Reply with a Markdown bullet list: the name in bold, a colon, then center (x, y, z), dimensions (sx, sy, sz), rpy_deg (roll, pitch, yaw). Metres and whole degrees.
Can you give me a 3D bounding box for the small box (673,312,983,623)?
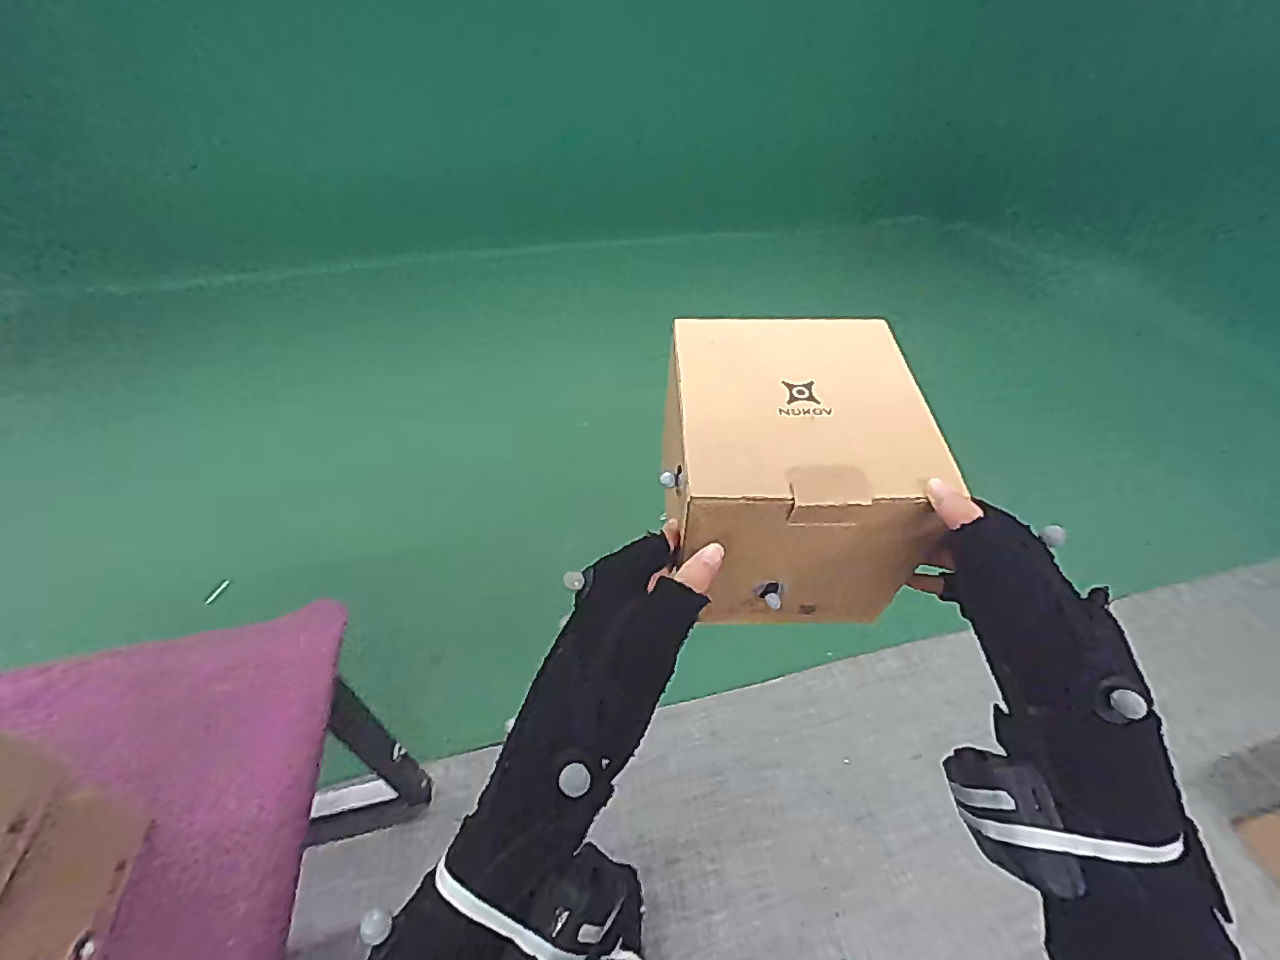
- **small box**: center (0.115, -0.006, 0.422), dimensions (0.168, 0.176, 0.179), rpy_deg (1, 53, -1)
